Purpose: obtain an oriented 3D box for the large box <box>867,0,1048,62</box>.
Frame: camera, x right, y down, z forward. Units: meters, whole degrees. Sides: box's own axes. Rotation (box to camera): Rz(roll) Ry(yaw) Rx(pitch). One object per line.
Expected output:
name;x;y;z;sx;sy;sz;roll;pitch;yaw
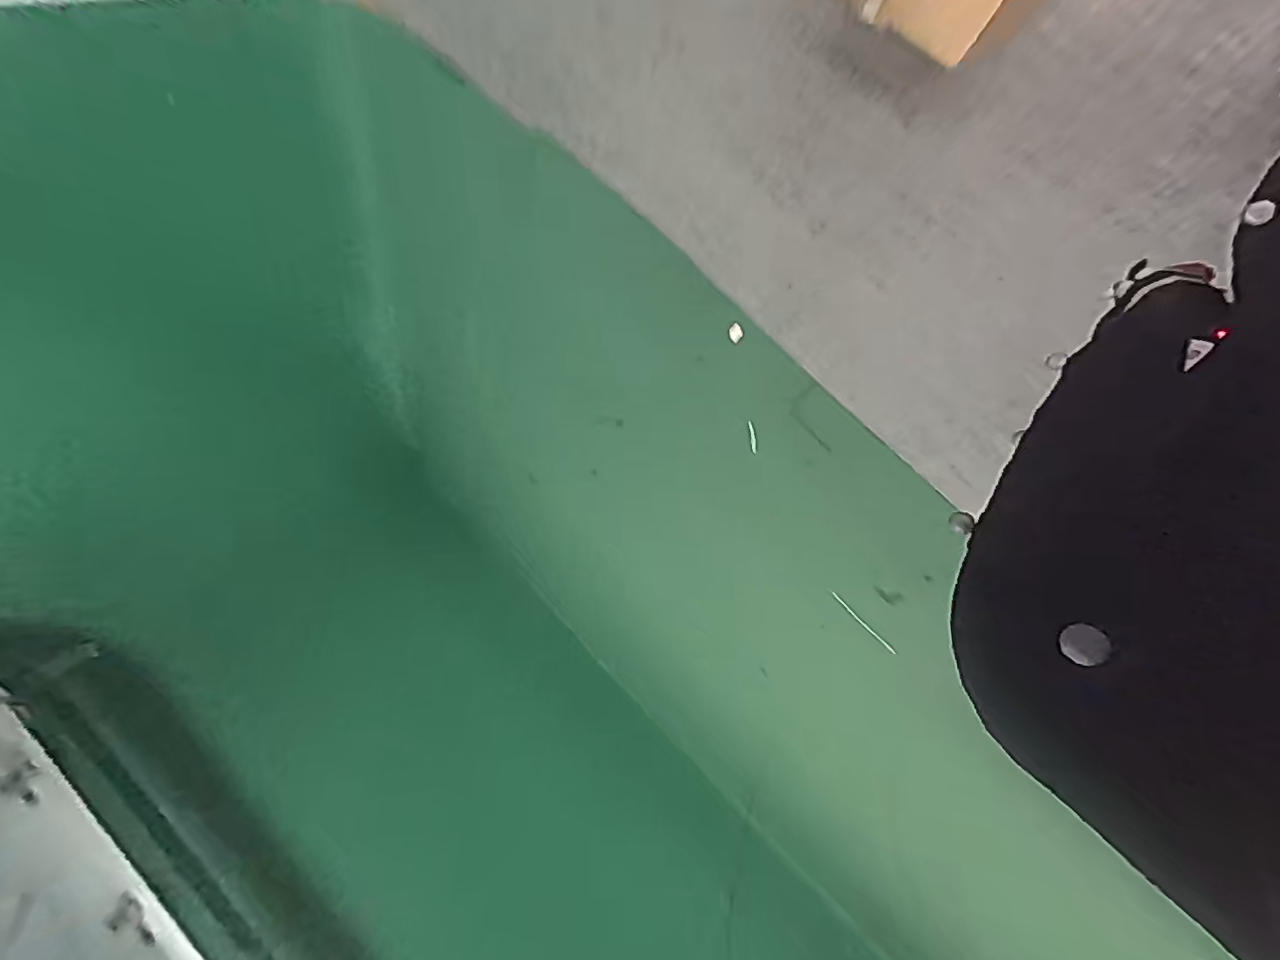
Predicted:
large box;0.504;-0.878;0.726;0.320;0.320;0.408;43;145;8
